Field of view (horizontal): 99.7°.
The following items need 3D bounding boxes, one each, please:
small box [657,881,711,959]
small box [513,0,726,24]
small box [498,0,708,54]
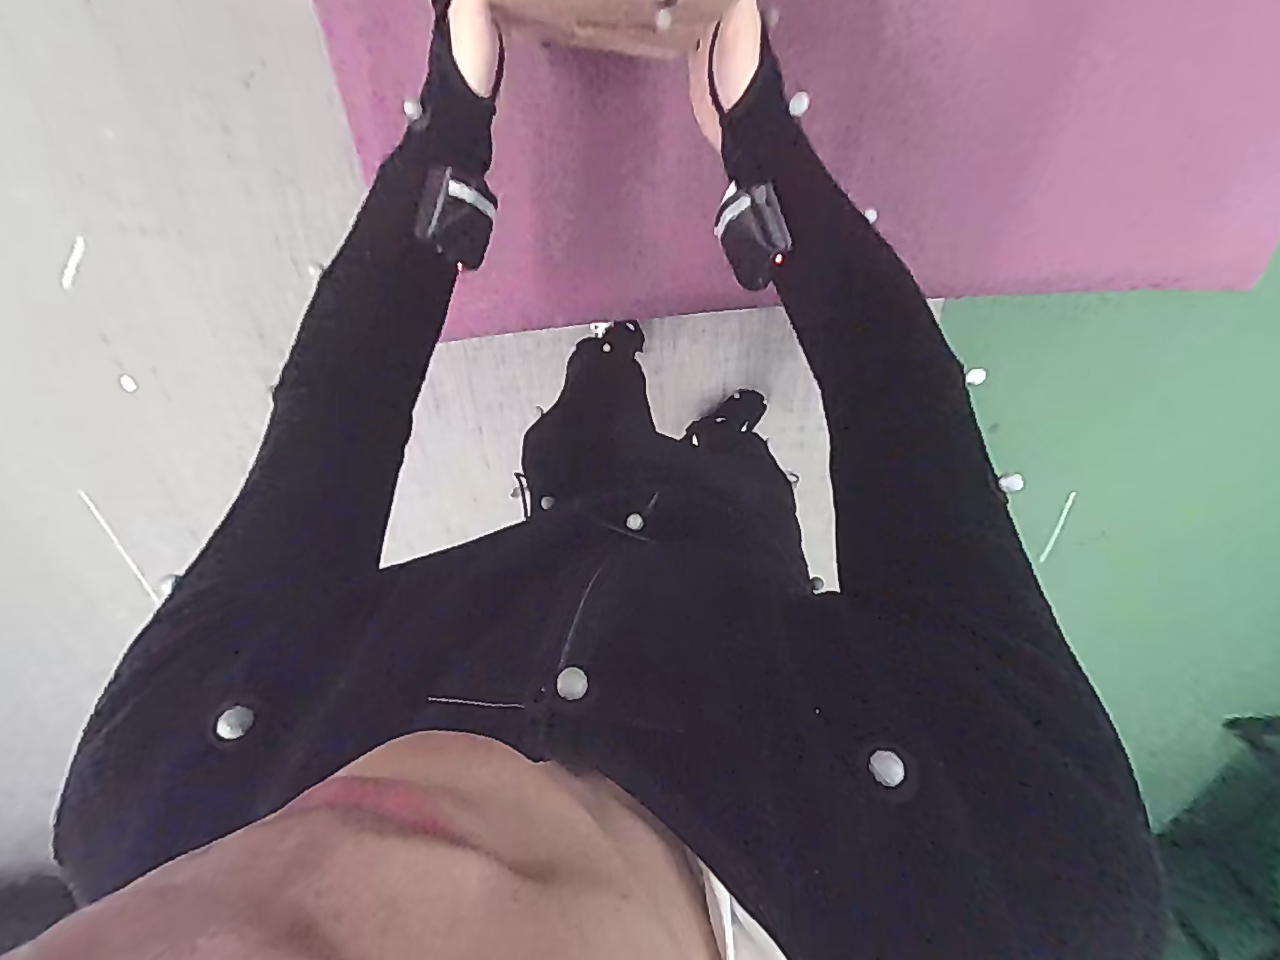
[{"bbox_3d":[0.149,1.541,1.894,0.168,0.176,0.179,-1,118,-3],"label":"small box"},{"bbox_3d":[-0.014,-0.382,0.303,0.168,0.176,0.179,-1,123,-7],"label":"small box"},{"bbox_3d":[-0.027,-0.470,0.440,0.168,0.176,0.179,0,122,-7],"label":"small box"}]
